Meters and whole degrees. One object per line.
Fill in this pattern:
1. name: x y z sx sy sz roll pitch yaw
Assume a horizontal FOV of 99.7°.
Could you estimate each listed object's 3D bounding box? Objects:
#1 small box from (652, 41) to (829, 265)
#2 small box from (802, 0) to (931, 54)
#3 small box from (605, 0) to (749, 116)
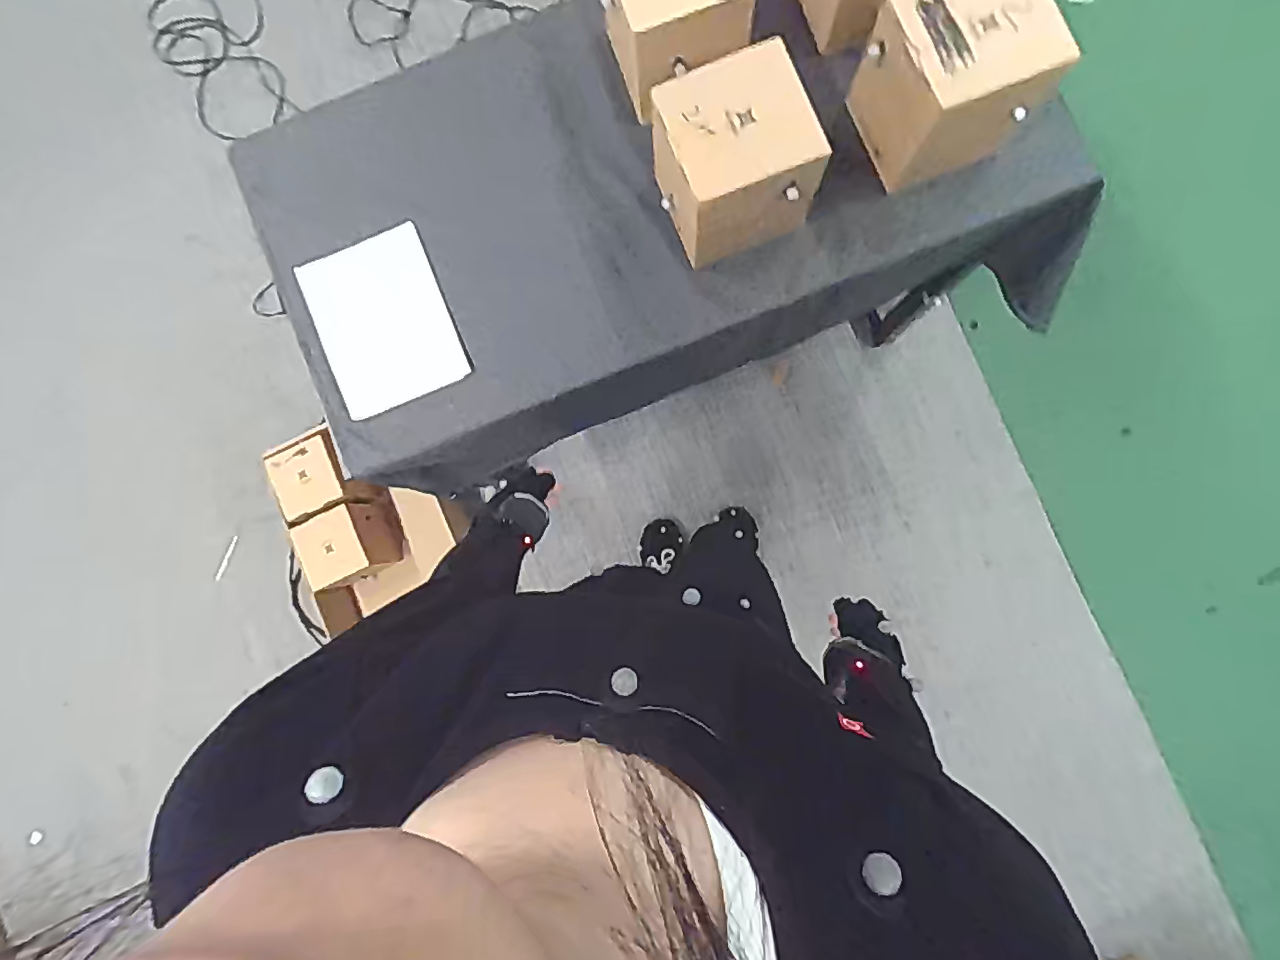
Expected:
1. small box: 0.126 -0.429 0.738 0.179 0.176 0.168 -21 83 3
2. small box: 0.320 -0.757 0.750 0.168 0.176 0.179 -19 85 3
3. small box: 0.047 -0.660 0.765 0.168 0.176 0.179 -18 84 3
